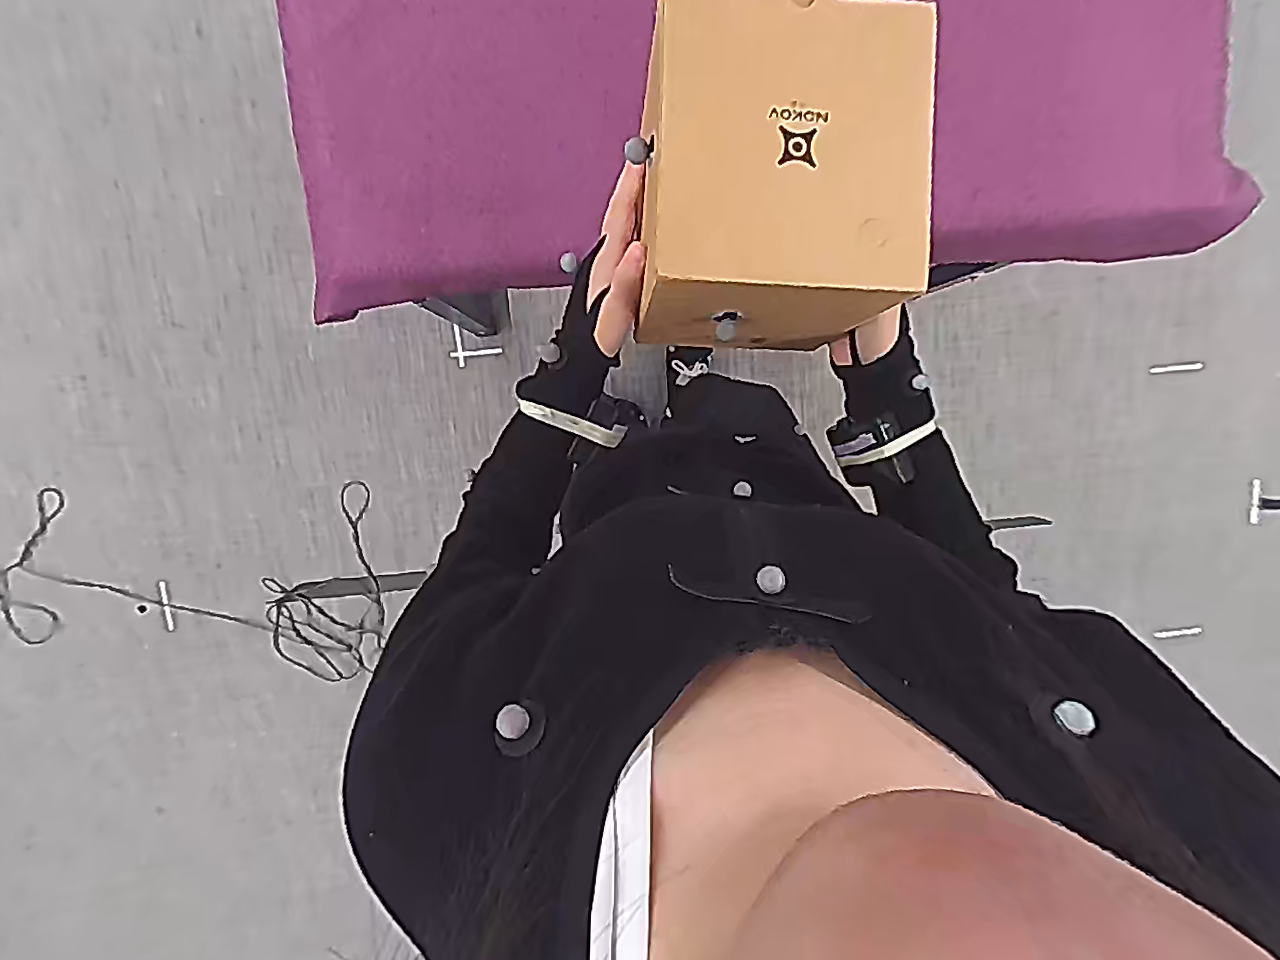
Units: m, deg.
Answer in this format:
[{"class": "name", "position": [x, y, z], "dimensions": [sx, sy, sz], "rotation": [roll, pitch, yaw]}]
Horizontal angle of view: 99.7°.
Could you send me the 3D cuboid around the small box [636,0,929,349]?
[{"class": "small box", "position": [0.087, -0.203, 0.405], "dimensions": [0.168, 0.176, 0.179], "rotation": [1, 90, -5]}]
